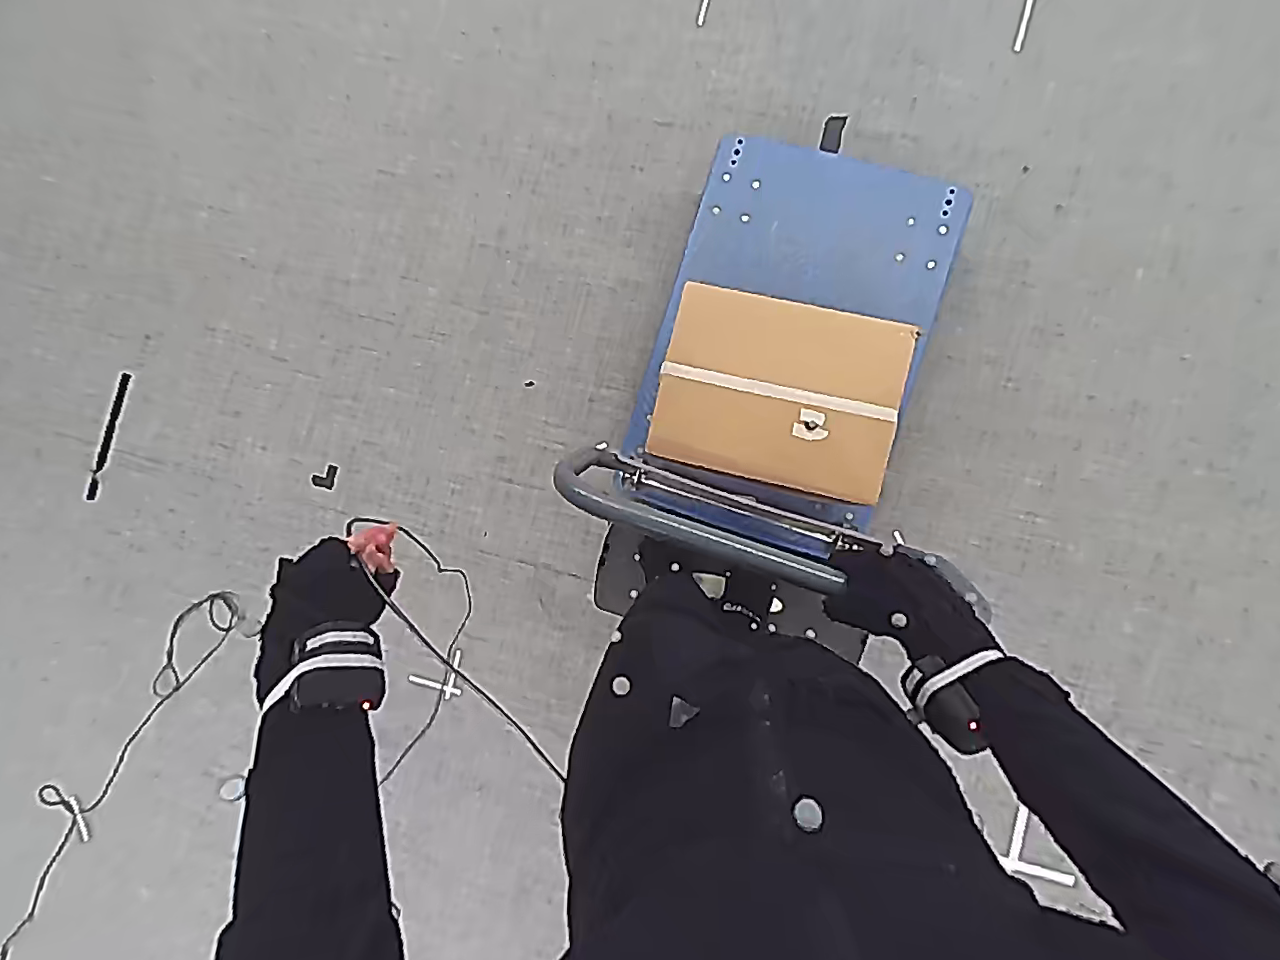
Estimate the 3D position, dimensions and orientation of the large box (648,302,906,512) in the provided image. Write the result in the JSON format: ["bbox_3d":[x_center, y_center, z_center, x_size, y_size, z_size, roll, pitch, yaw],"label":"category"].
[{"bbox_3d":[0.250,-0.127,1.098,0.408,0.320,0.320,13,90,6],"label":"large box"}]
